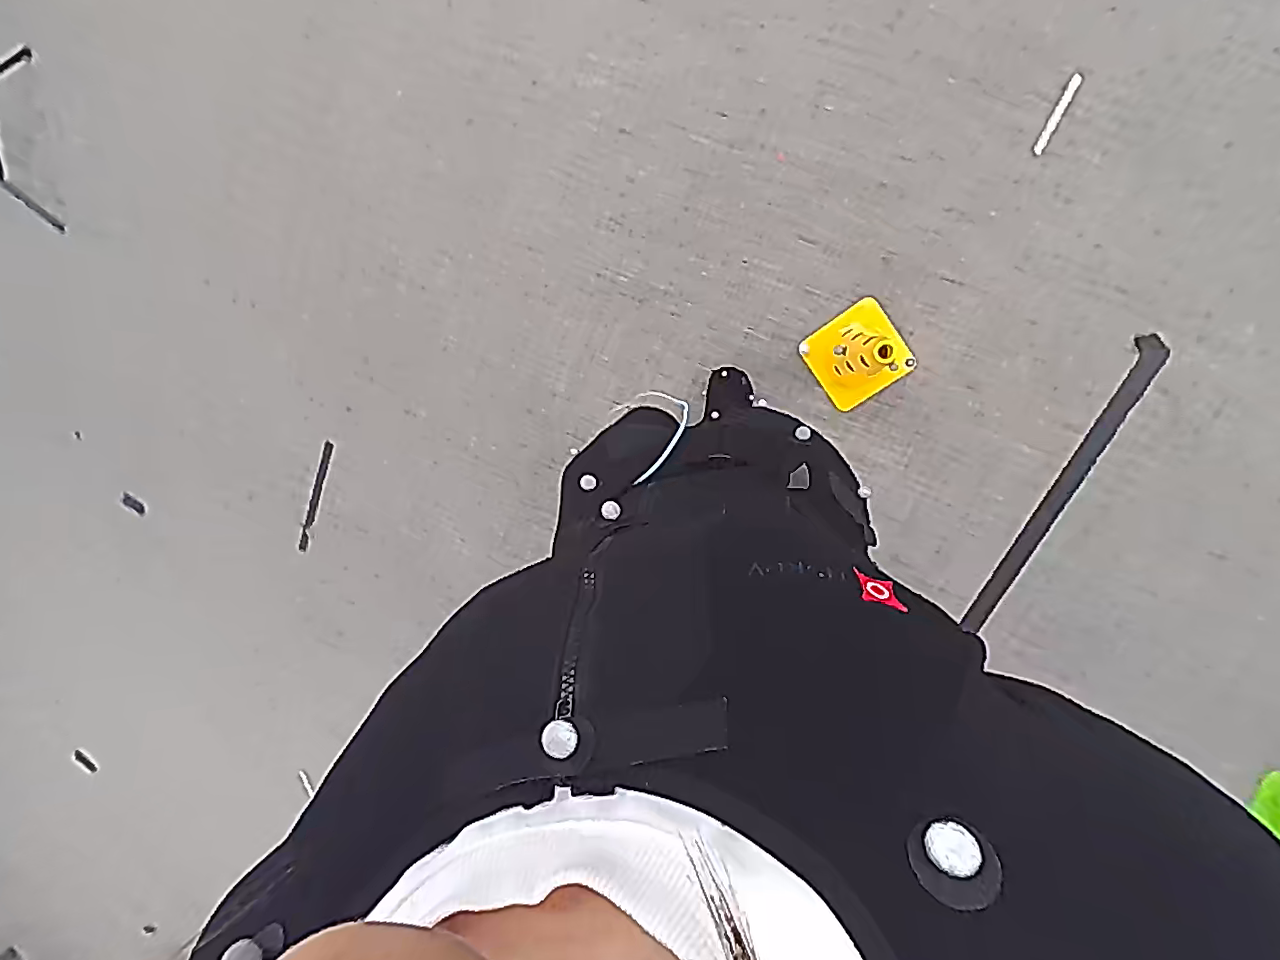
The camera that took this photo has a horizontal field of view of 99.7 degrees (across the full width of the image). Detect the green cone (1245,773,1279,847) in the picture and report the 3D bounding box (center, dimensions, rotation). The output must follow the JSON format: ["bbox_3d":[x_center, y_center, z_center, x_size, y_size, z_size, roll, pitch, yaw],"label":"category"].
[{"bbox_3d":[1.514,0.818,1.094,0.200,0.368,0.202,9,105,12],"label":"green cone"}]

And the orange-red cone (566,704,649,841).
[{"bbox_3d":[-0.129,0.827,1.484,0.198,0.360,0.199,31,106,5],"label":"orange-red cone"}]
